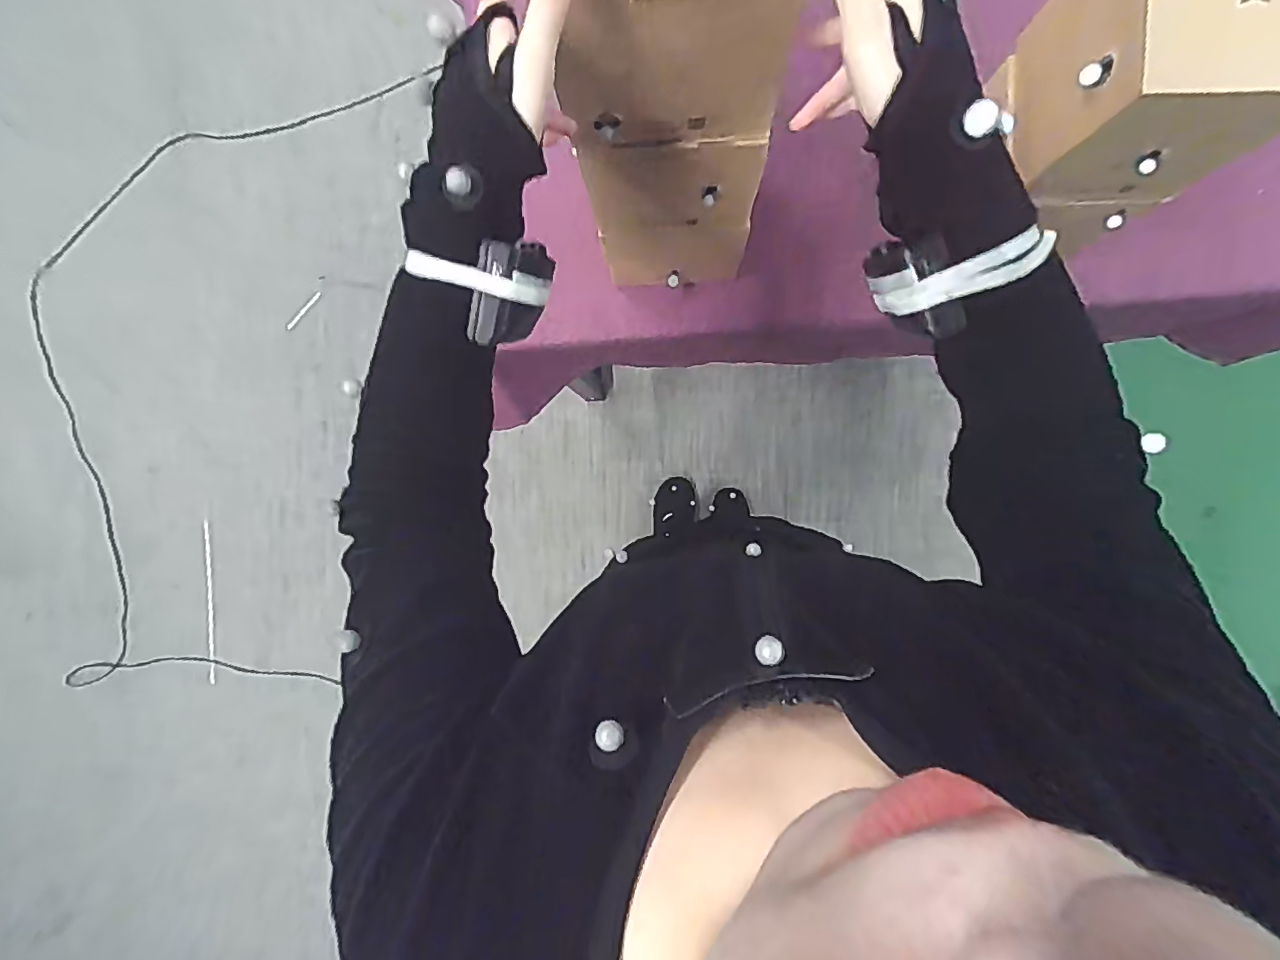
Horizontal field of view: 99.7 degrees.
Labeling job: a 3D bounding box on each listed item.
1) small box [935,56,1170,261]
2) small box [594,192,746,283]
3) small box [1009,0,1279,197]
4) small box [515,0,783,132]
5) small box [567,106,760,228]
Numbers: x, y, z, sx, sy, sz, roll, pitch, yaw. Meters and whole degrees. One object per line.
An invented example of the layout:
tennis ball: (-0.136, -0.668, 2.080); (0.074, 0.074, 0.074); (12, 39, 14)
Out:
small box: (0.487, -0.382, 0.665); (0.179, 0.176, 0.168); (0, 91, 3)
small box: (0.036, -0.363, 0.695); (0.179, 0.176, 0.168); (-1, 90, 3)
small box: (0.475, -0.386, 0.500); (0.168, 0.176, 0.179); (2, 90, 3)
small box: (0.009, -0.368, 0.368); (0.168, 0.176, 0.179); (-3, 90, 3)
small box: (0.026, -0.366, 0.532); (0.168, 0.176, 0.179); (1, 90, 4)
